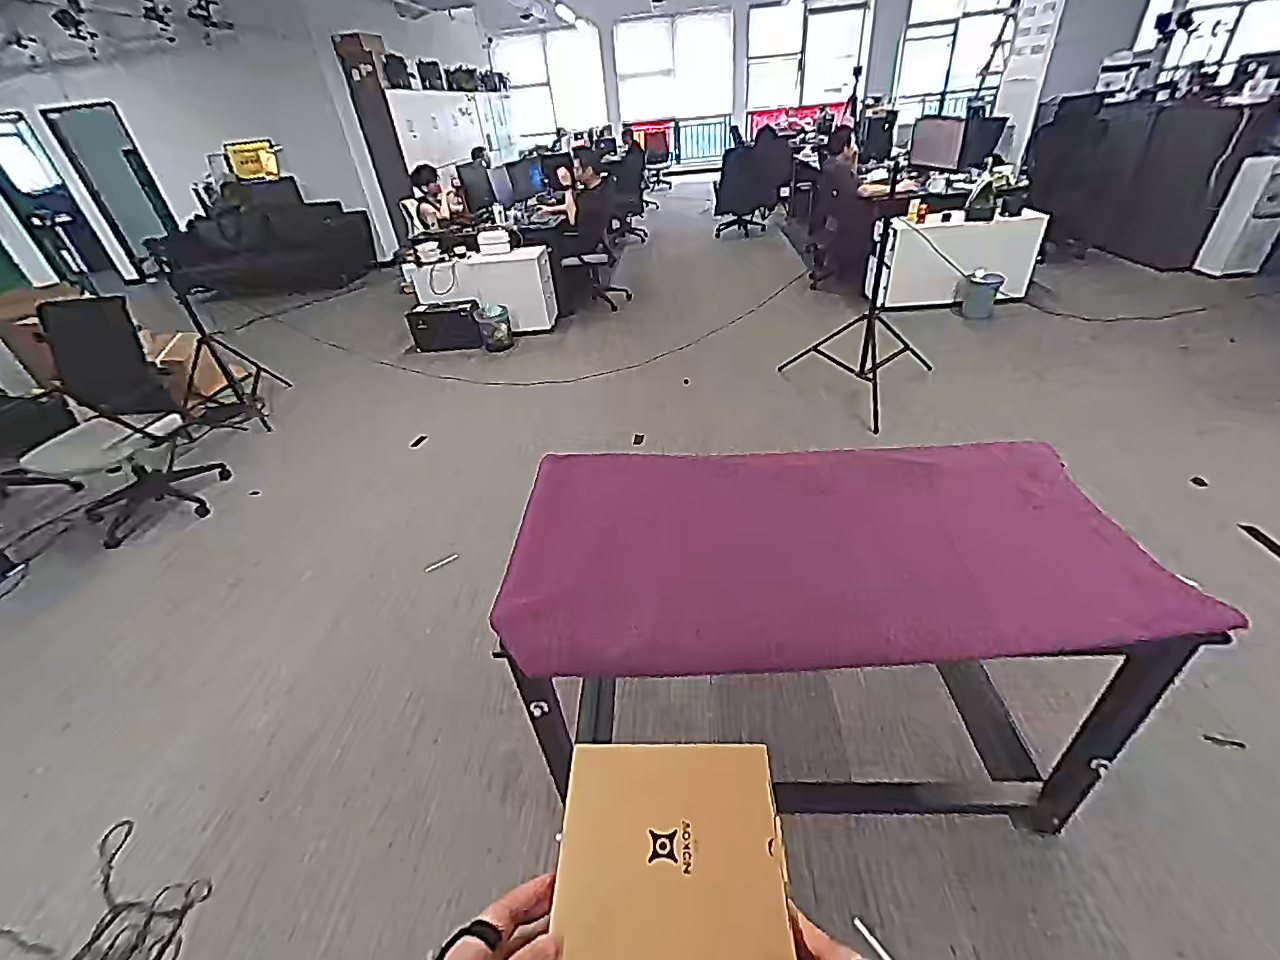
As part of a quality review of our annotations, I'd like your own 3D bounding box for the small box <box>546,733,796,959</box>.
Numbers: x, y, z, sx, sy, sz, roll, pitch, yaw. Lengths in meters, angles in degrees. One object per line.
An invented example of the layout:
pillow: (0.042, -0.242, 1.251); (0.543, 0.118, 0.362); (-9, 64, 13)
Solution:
small box: (0.031, 0.347, 0.477); (0.179, 0.176, 0.168); (-2, 35, 4)
